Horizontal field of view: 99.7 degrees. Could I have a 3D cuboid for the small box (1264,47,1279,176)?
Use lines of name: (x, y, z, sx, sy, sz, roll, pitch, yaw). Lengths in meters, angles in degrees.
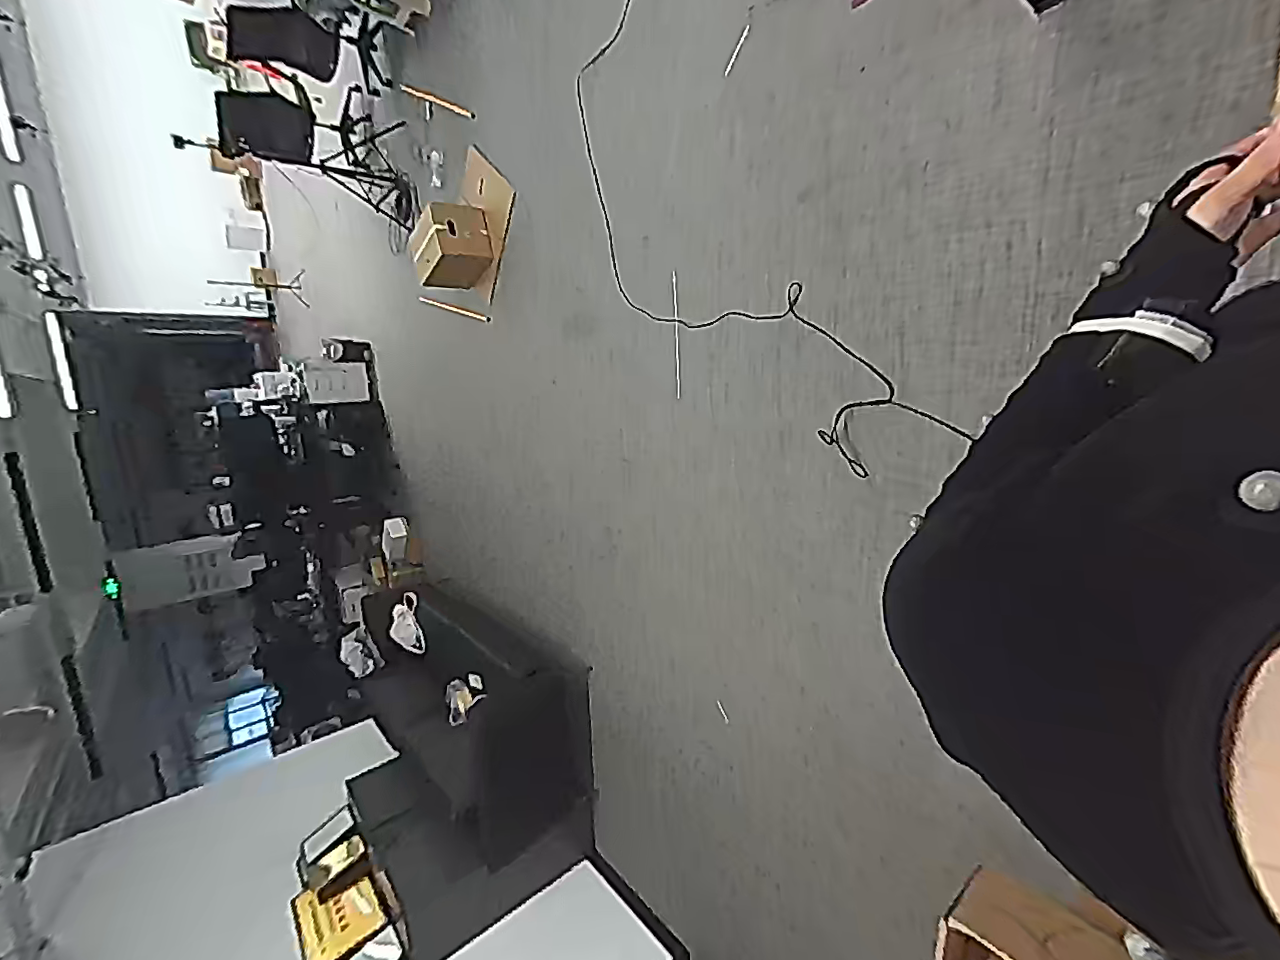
small box: (0.467, -0.276, 0.275, 0.179, 0.176, 0.168, 4, 107, 41)
